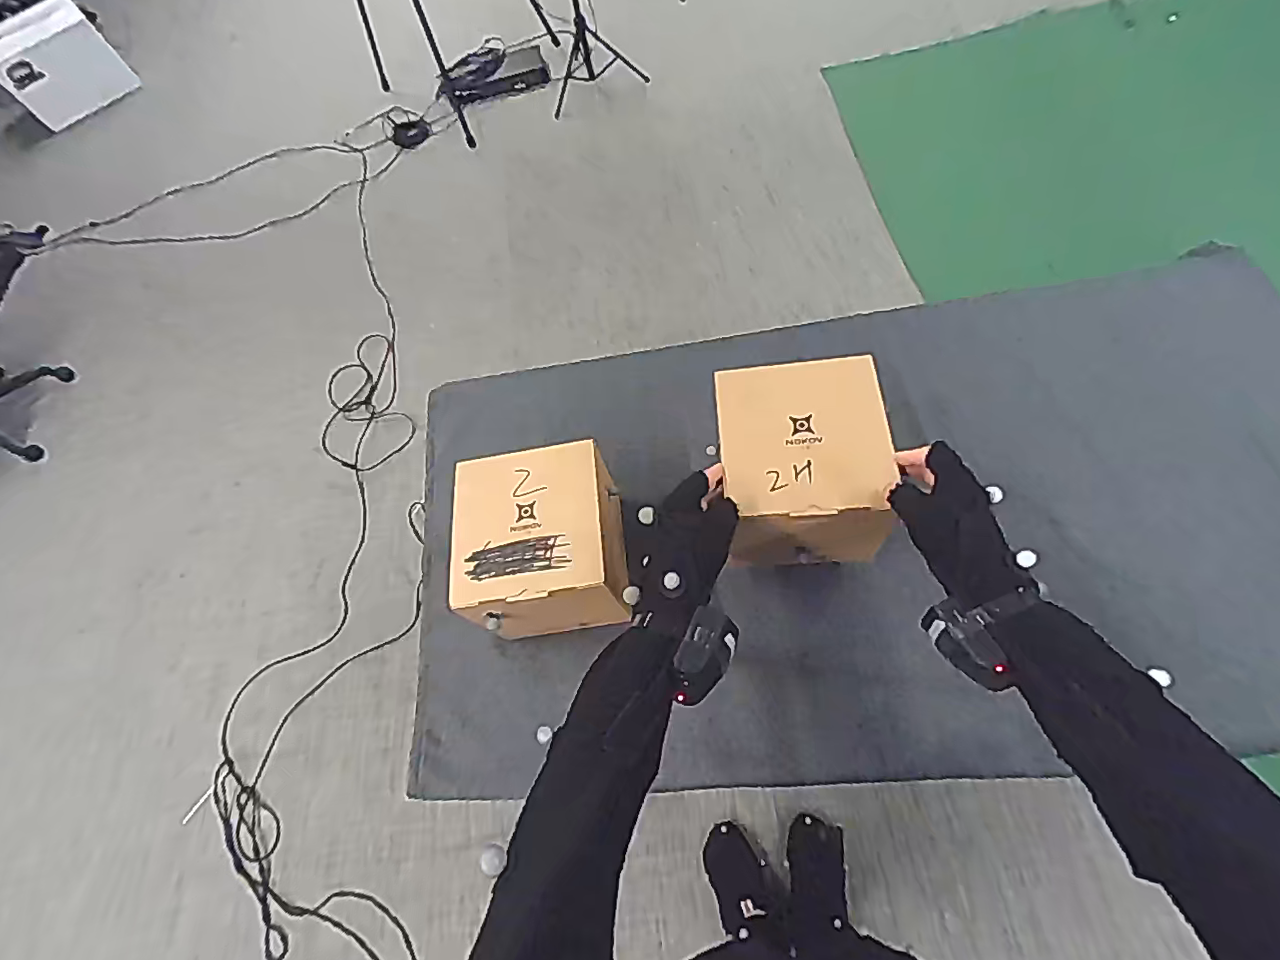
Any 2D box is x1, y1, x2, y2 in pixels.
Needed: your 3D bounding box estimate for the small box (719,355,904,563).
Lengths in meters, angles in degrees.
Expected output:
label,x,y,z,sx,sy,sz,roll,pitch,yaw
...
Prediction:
label,x,y,z,sx,sy,sz,roll,pitch,yaw
small box,0.177,-0.015,0.616,0.168,0.176,0.179,-4,65,9
